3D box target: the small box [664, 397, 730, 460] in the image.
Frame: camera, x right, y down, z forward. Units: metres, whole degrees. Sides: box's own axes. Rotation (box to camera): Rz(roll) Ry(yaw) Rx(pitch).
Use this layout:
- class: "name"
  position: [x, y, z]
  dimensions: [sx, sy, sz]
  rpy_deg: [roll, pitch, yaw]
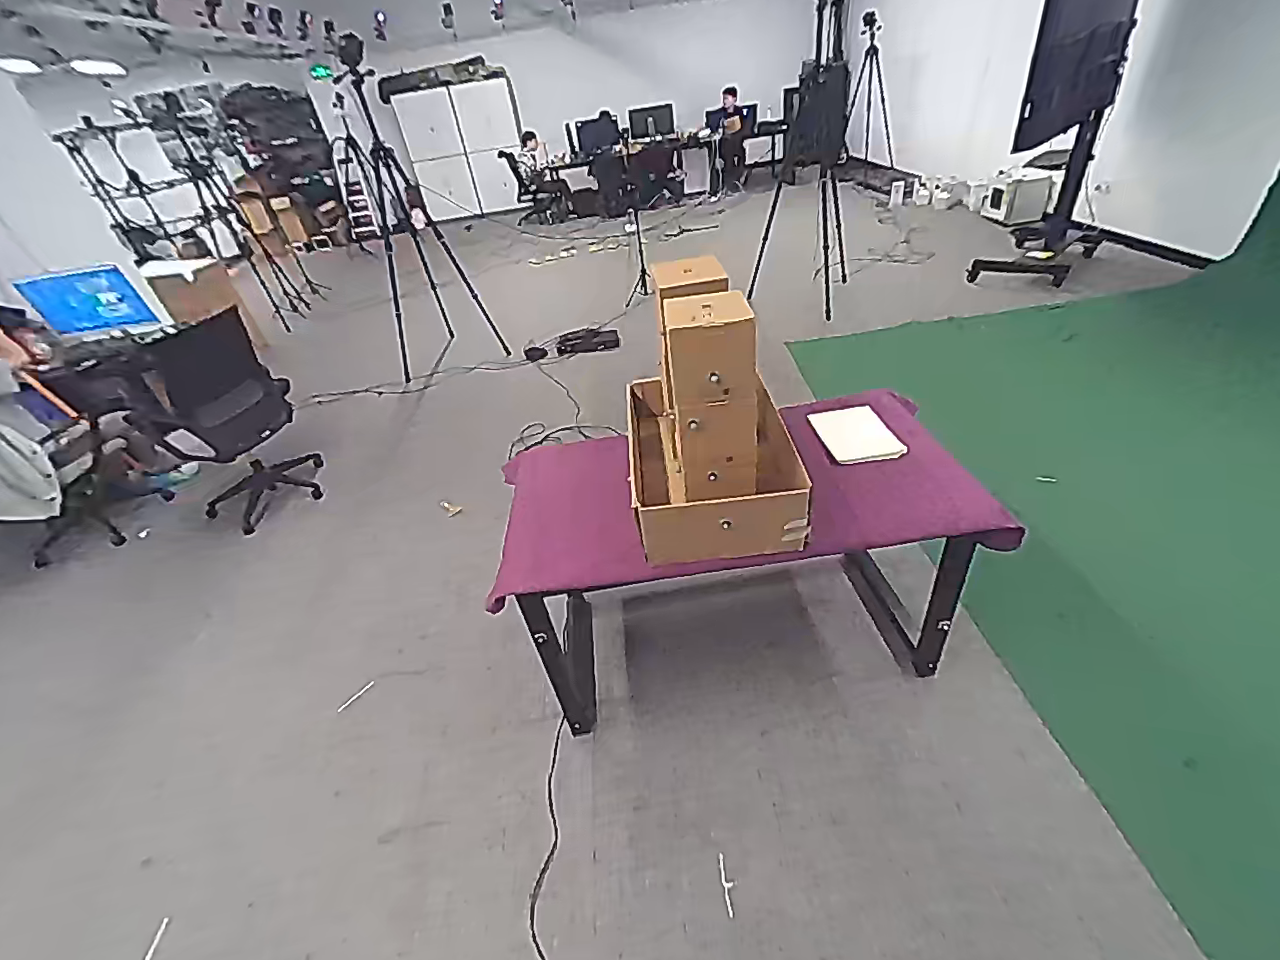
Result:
- class: "small box"
  position: [0.159, -0.179, 1.549]
  dimensions: [0.168, 0.176, 0.179]
  rpy_deg: [-9, 39, 0]

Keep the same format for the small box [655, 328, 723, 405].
- class: "small box"
  position: [0.139, -0.311, 1.454]
  dimensions: [0.168, 0.176, 0.179]
  rpy_deg: [-9, 38, -1]

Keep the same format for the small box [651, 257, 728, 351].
- class: "small box"
  position: [0.121, -0.437, 1.353]
  dimensions: [0.168, 0.176, 0.179]
  rpy_deg: [-9, 39, 0]

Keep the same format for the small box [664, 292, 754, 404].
- class: "small box"
  position: [0.141, -0.277, 1.131]
  dimensions: [0.168, 0.176, 0.179]
  rpy_deg: [-7, 37, 3]
